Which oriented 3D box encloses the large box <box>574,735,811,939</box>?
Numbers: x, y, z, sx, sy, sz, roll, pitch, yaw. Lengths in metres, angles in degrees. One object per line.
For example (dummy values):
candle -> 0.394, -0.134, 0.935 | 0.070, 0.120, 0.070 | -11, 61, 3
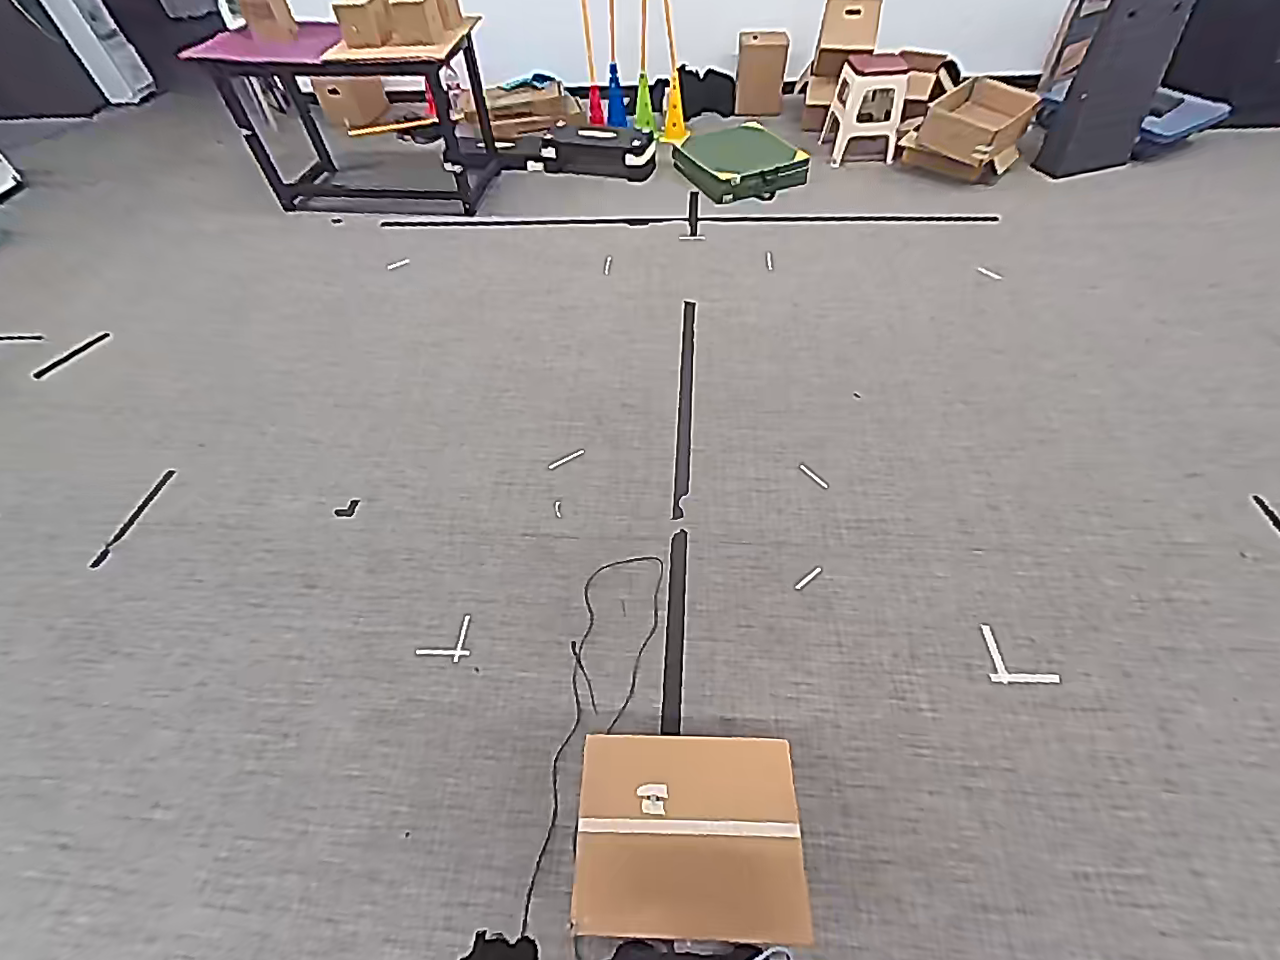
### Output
large box -> 0.098, 0.726, 1.110 | 0.408, 0.320, 0.320 | -1, 51, 3
